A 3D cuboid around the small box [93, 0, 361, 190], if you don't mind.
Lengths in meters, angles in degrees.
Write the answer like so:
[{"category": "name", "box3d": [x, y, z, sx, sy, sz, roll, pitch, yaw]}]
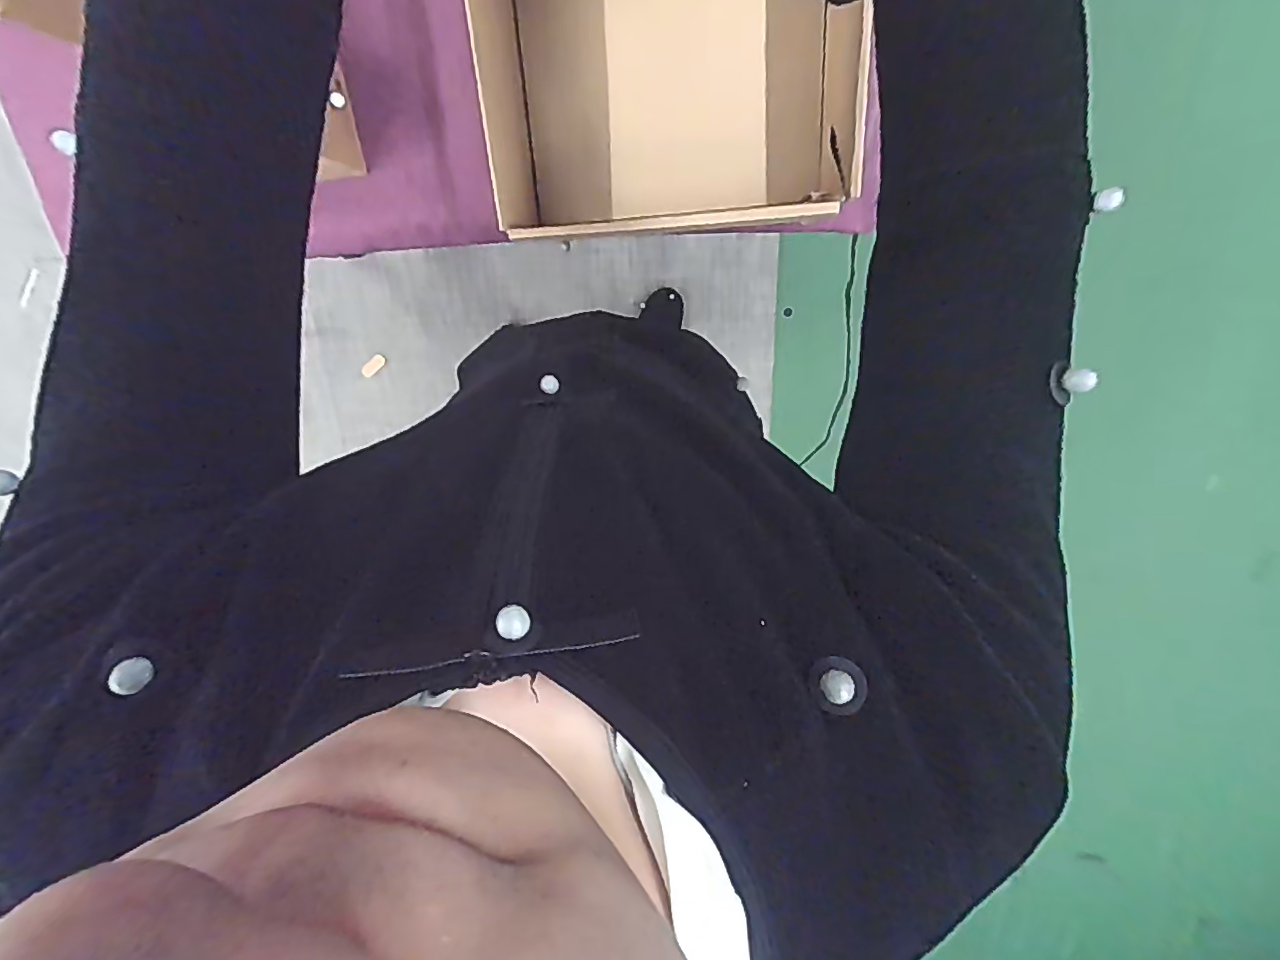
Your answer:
[{"category": "small box", "box3d": [-0.490, -0.473, 0.673, 0.179, 0.176, 0.168, -5, 109, 5]}]
